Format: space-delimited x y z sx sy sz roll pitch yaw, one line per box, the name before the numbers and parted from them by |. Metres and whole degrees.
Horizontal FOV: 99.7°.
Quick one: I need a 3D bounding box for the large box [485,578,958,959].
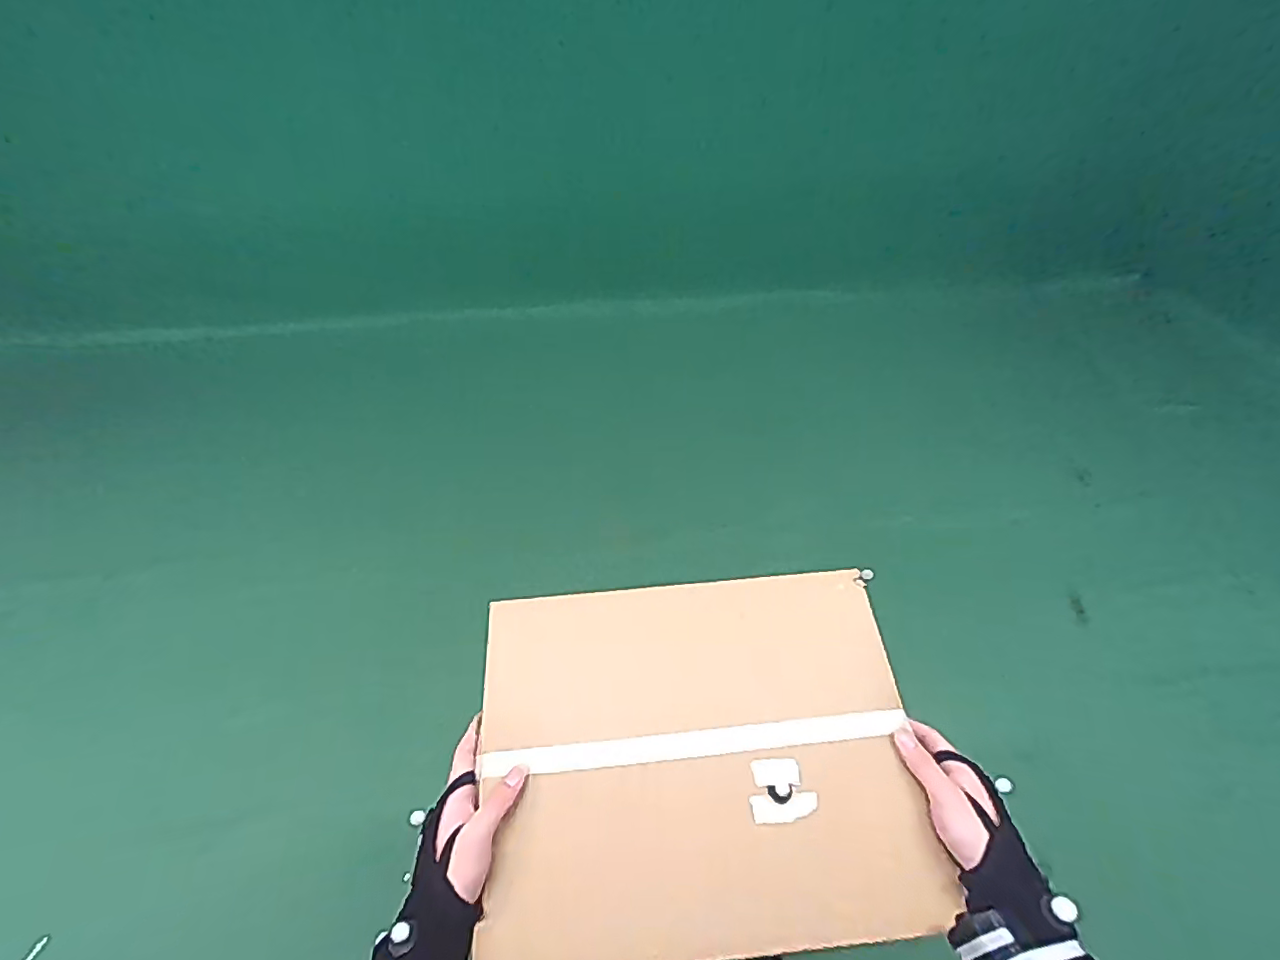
large box | 0.054 0.337 0.643 0.408 0.320 0.320 -5 58 -3
